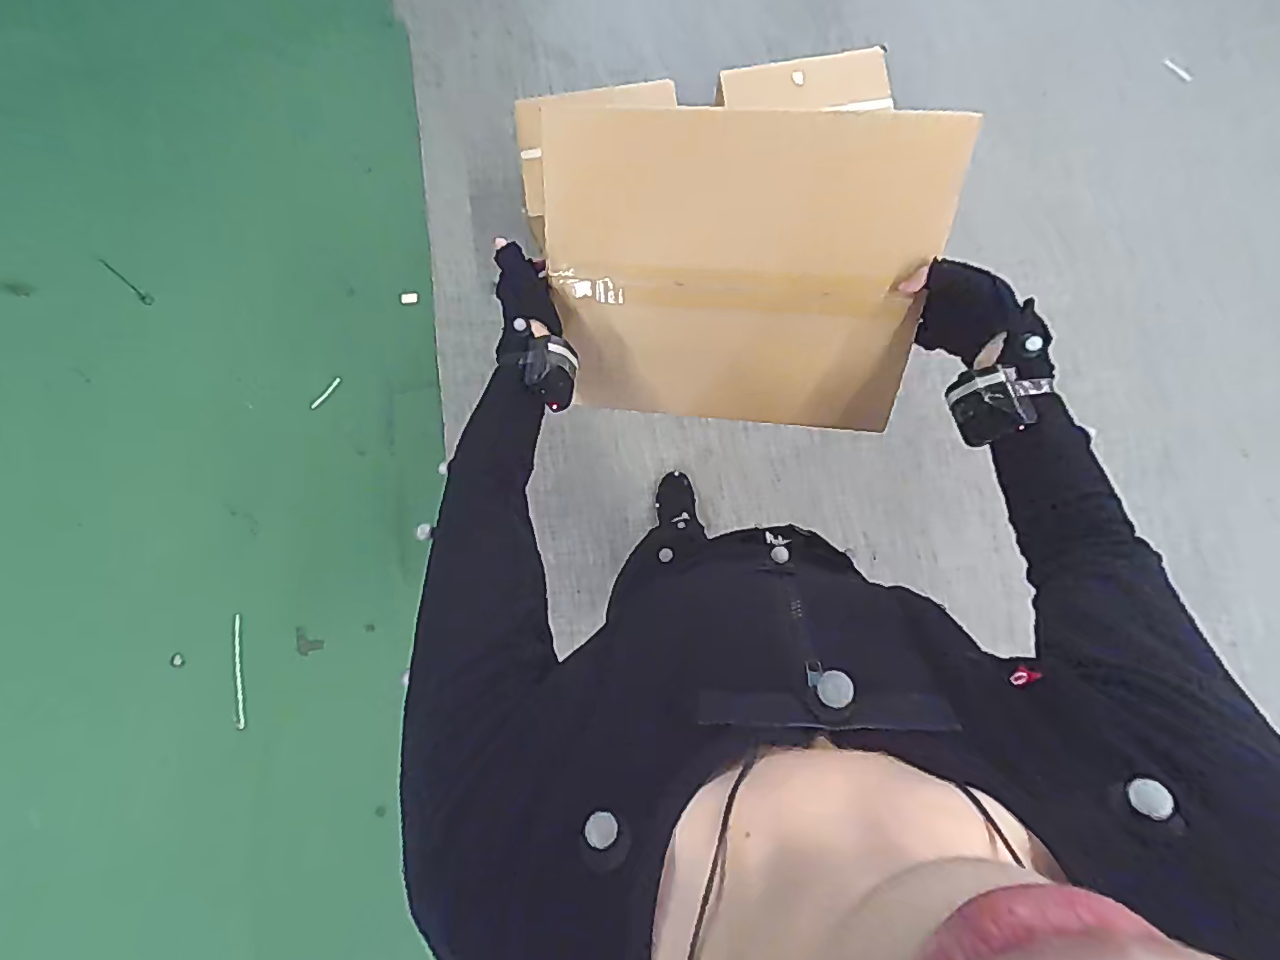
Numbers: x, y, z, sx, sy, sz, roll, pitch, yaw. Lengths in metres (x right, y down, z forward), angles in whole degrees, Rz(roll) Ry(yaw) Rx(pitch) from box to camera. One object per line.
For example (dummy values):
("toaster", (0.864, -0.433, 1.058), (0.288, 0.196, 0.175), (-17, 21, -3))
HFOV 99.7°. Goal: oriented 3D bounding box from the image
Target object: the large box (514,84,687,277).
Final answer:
("large box", (-0.093, -0.790, 1.474), (0.408, 0.320, 0.320), (-7, 83, 2))
